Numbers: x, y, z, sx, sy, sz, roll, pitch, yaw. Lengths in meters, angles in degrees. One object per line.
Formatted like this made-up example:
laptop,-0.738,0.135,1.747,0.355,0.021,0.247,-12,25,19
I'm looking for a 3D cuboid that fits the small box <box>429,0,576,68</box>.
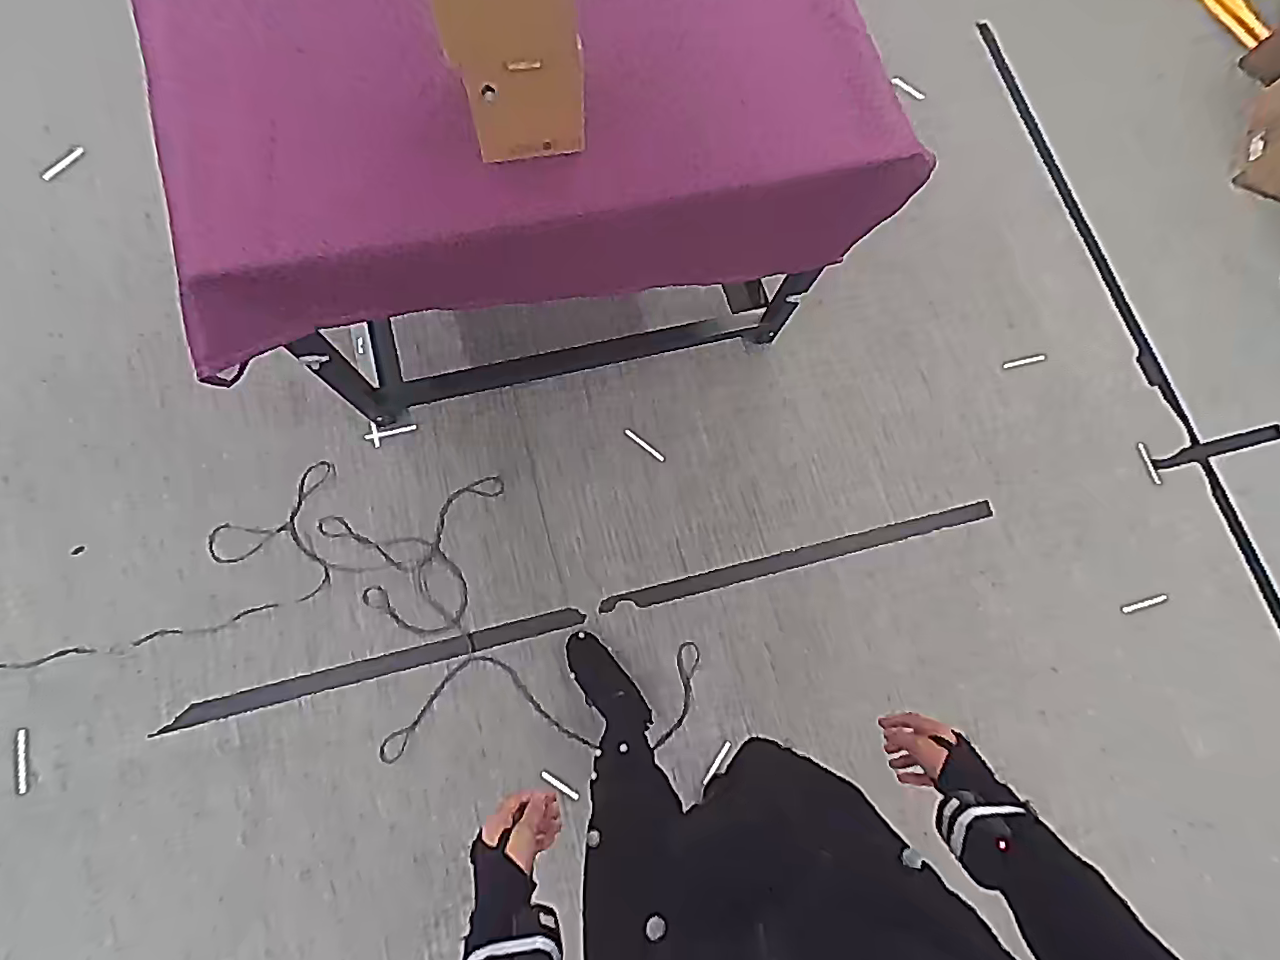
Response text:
small box,-0.179,-0.643,0.655,0.179,0.176,0.168,-12,78,-9
